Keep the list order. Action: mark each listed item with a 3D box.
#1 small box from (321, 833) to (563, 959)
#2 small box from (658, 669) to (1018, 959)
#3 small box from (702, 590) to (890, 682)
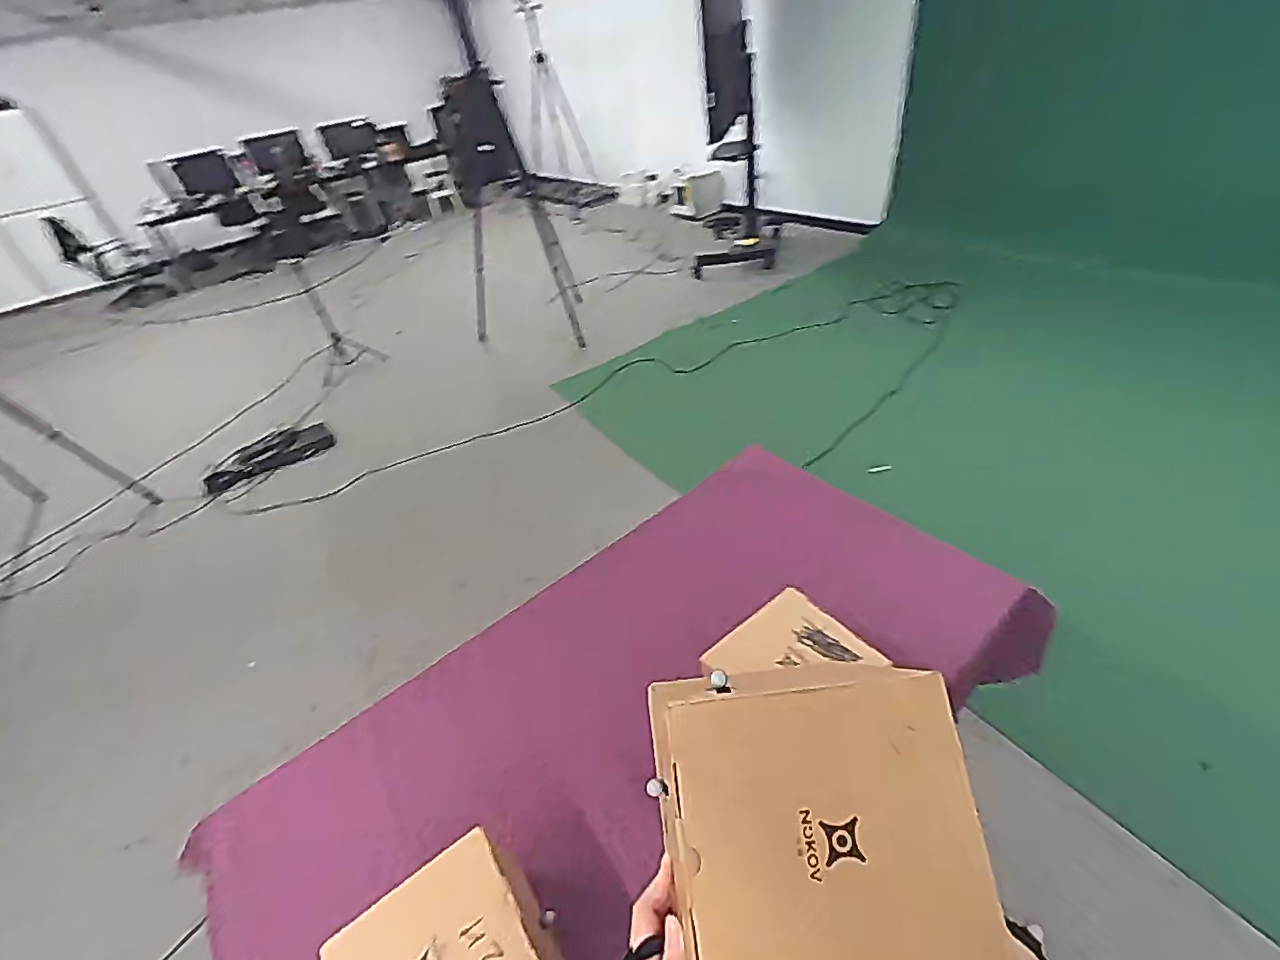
[{"bbox_3d":[-0.184,0.519,0.551,0.179,0.176,0.168,-30,43,-22],"label":"small box"},{"bbox_3d":[0.110,0.229,0.379,0.179,0.176,0.168,-5,73,-2],"label":"small box"},{"bbox_3d":[0.205,0.293,0.735,0.179,0.176,0.168,-31,43,-22],"label":"small box"}]
